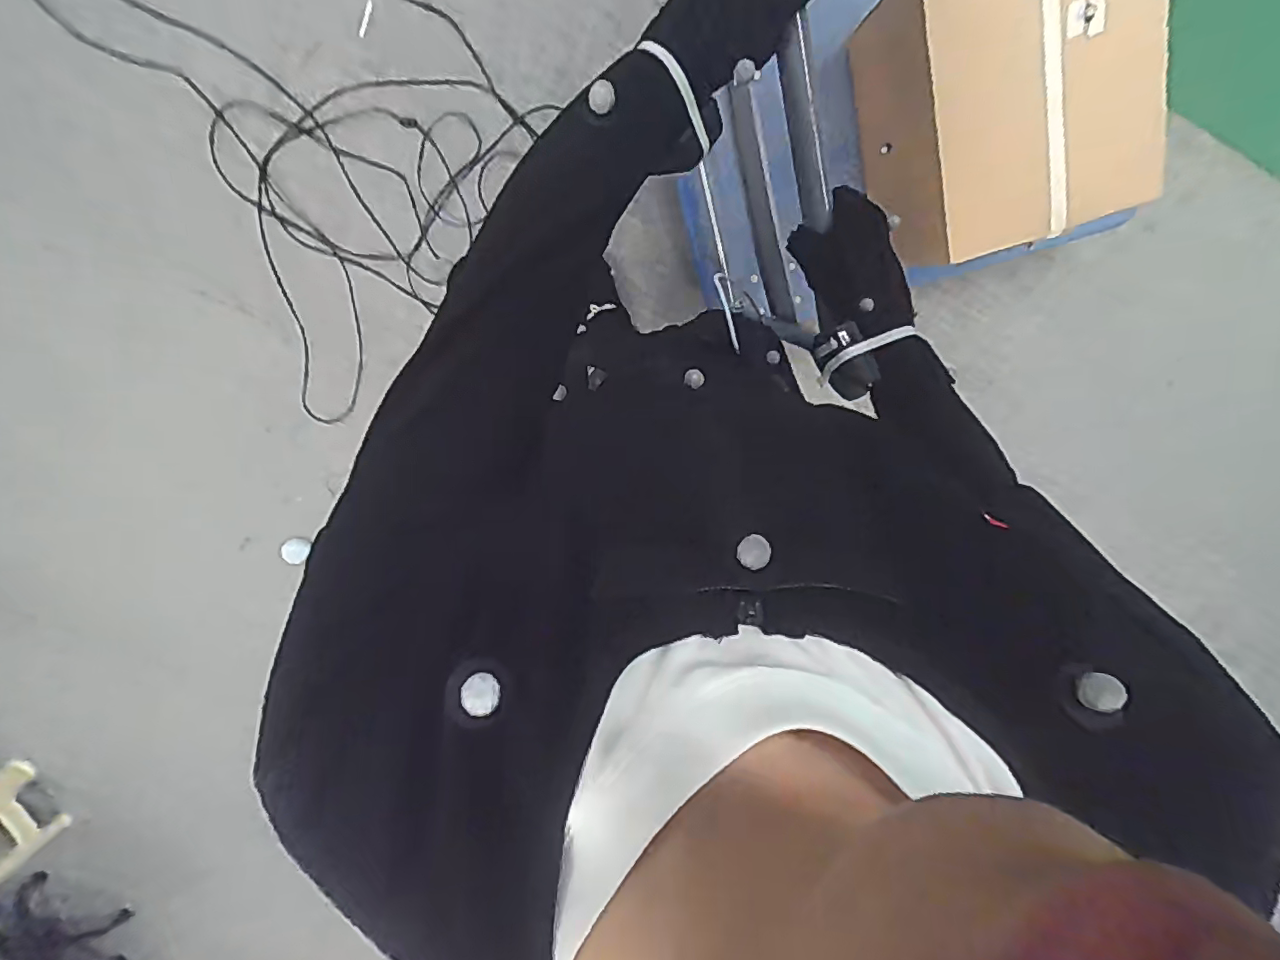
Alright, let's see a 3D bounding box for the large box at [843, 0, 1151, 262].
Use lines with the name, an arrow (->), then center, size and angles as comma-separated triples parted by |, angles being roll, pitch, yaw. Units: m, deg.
large box -> 0.575, -0.625, 0.916 | 0.320, 0.320, 0.408 | -17, 110, 7
